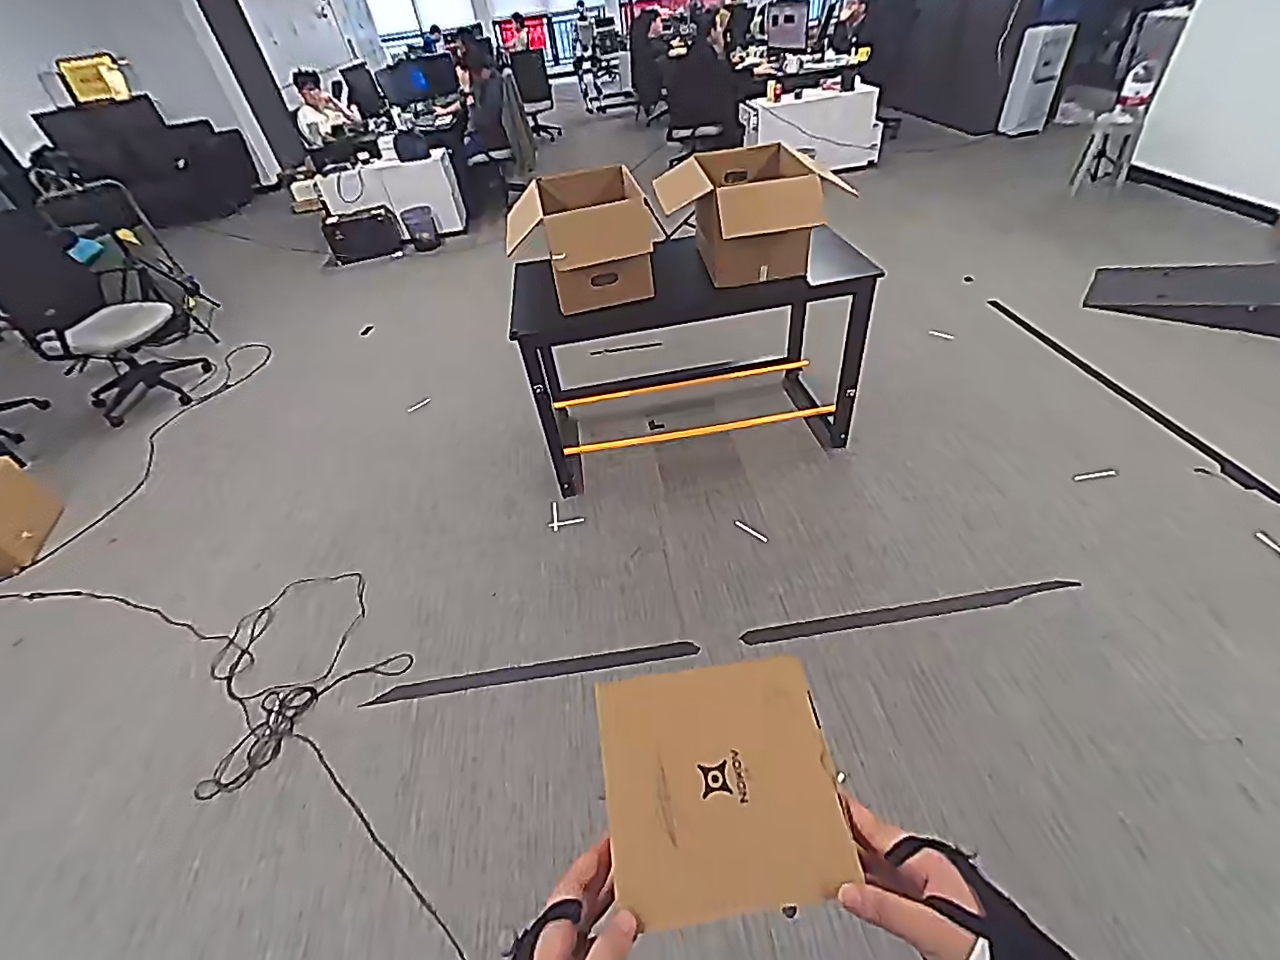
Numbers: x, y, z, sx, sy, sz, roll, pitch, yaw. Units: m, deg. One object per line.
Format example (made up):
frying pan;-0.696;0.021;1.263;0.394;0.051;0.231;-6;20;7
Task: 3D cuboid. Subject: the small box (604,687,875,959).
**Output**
small box;0.068;0.295;0.475;0.179;0.176;0.168;-9;56;-3
